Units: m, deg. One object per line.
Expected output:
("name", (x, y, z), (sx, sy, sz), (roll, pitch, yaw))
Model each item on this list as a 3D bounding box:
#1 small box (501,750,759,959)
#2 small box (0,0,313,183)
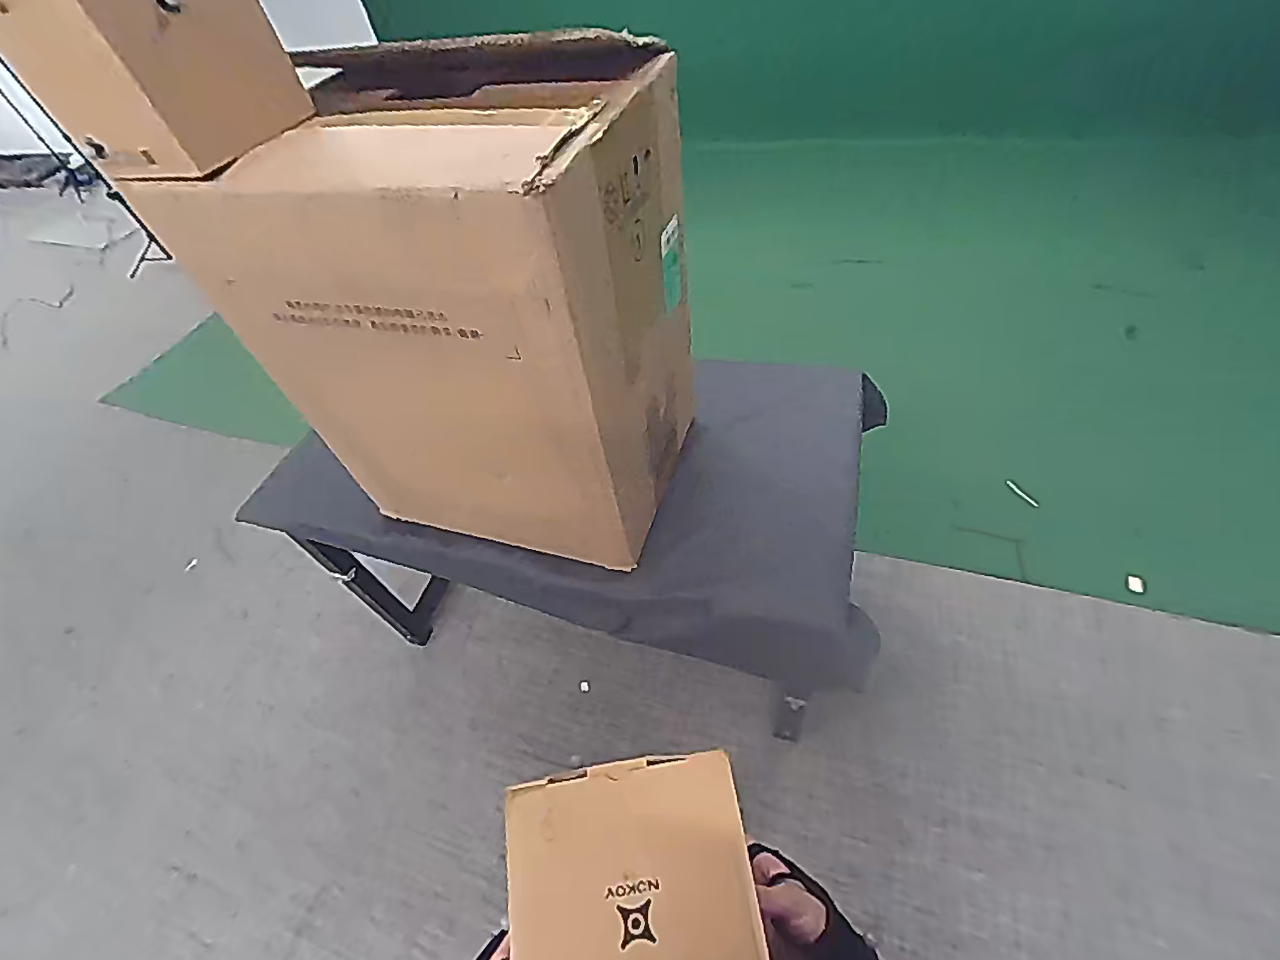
("small box", (-0.009, 0.323, 0.426), (0.168, 0.176, 0.179), (-8, 63, -3))
("small box", (-0.495, -0.429, 0.564), (0.168, 0.176, 0.179), (11, 53, 19))
